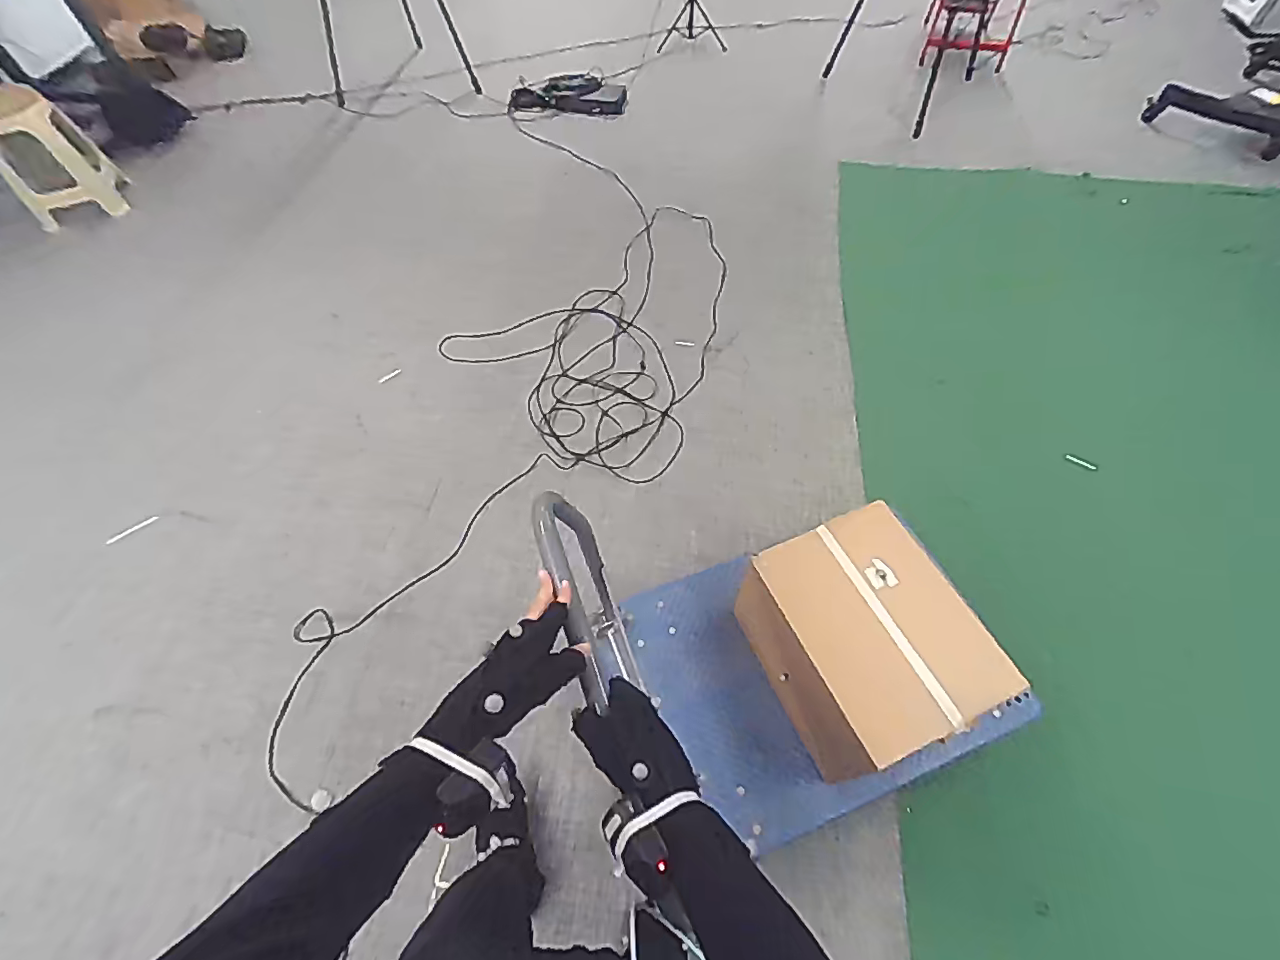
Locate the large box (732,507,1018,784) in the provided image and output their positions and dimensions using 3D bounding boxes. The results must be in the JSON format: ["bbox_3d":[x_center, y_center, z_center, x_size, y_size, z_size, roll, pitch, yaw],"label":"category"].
[{"bbox_3d":[0.430,0.339,1.108,0.320,0.320,0.408,-20,58,-12],"label":"large box"}]
